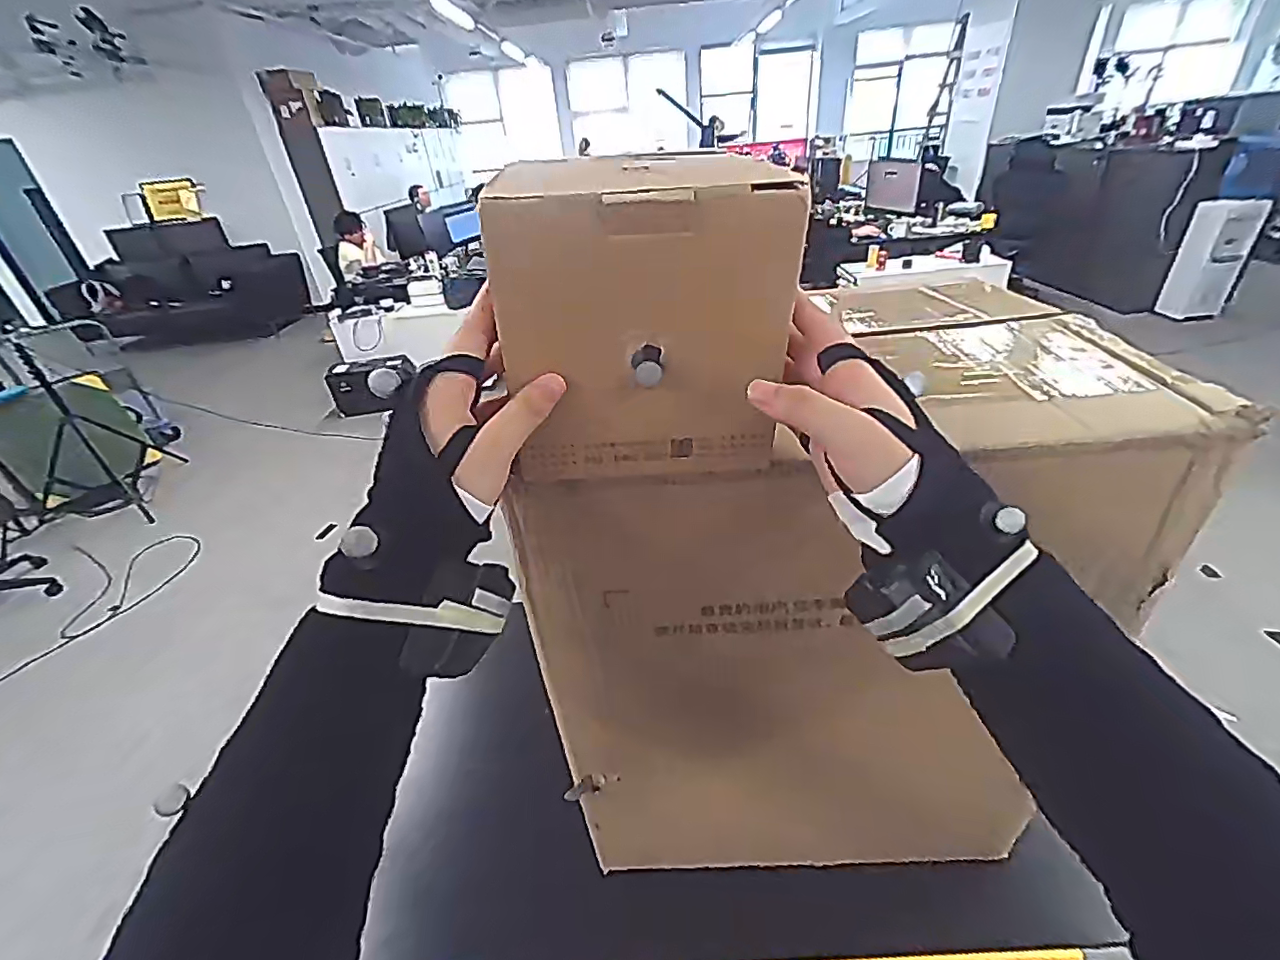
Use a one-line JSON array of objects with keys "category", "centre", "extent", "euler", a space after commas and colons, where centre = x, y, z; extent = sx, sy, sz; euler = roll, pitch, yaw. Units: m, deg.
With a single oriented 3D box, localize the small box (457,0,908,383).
[{"category": "small box", "centre": [0.014, -0.160, 0.296], "extent": [0.168, 0.176, 0.179], "euler": [-4, 37, -3]}]
